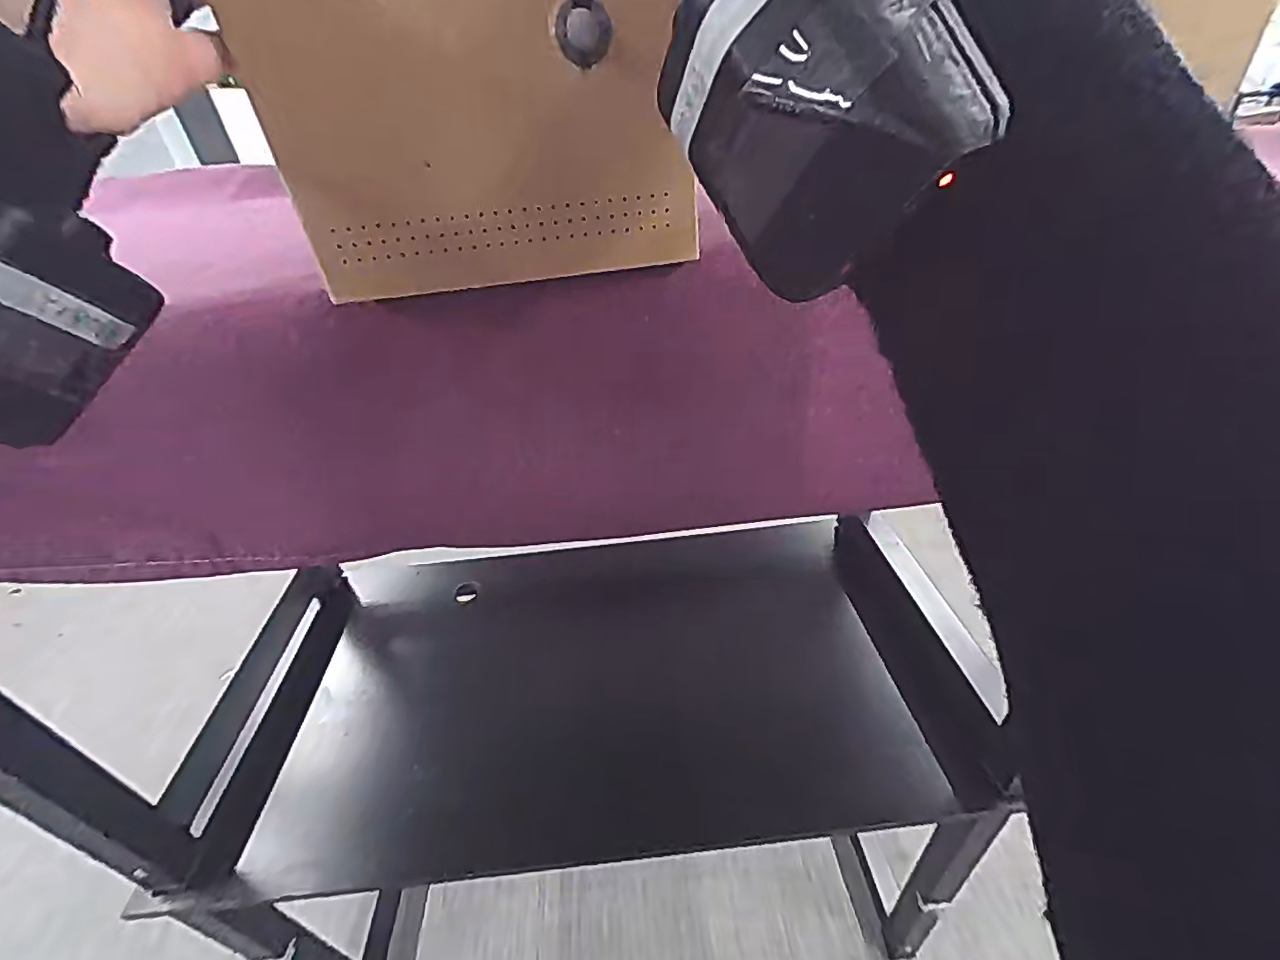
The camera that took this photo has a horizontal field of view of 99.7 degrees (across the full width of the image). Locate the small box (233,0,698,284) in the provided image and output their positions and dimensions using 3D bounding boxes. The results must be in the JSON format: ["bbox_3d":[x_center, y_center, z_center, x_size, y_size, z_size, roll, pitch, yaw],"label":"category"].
[{"bbox_3d":[-0.068,-0.212,0.274,0.179,0.176,0.168,-8,34,-3],"label":"small box"}]
